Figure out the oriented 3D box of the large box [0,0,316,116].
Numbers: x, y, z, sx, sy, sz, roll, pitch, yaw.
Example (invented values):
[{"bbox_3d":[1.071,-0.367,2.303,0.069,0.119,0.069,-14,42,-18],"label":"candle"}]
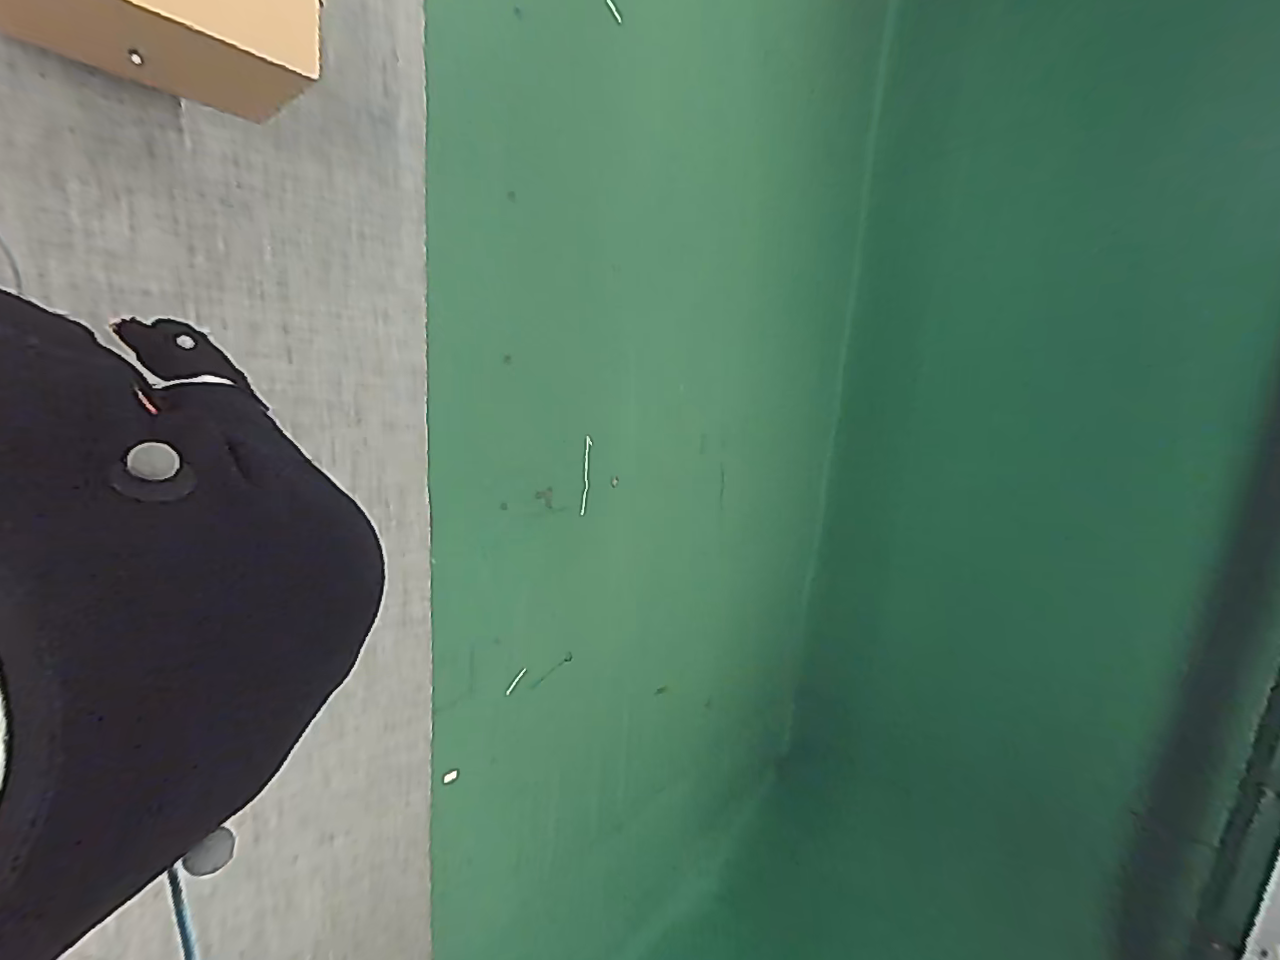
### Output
[{"bbox_3d":[-0.754,-0.809,0.796,0.408,0.320,0.320,-7,106,-48],"label":"large box"}]
